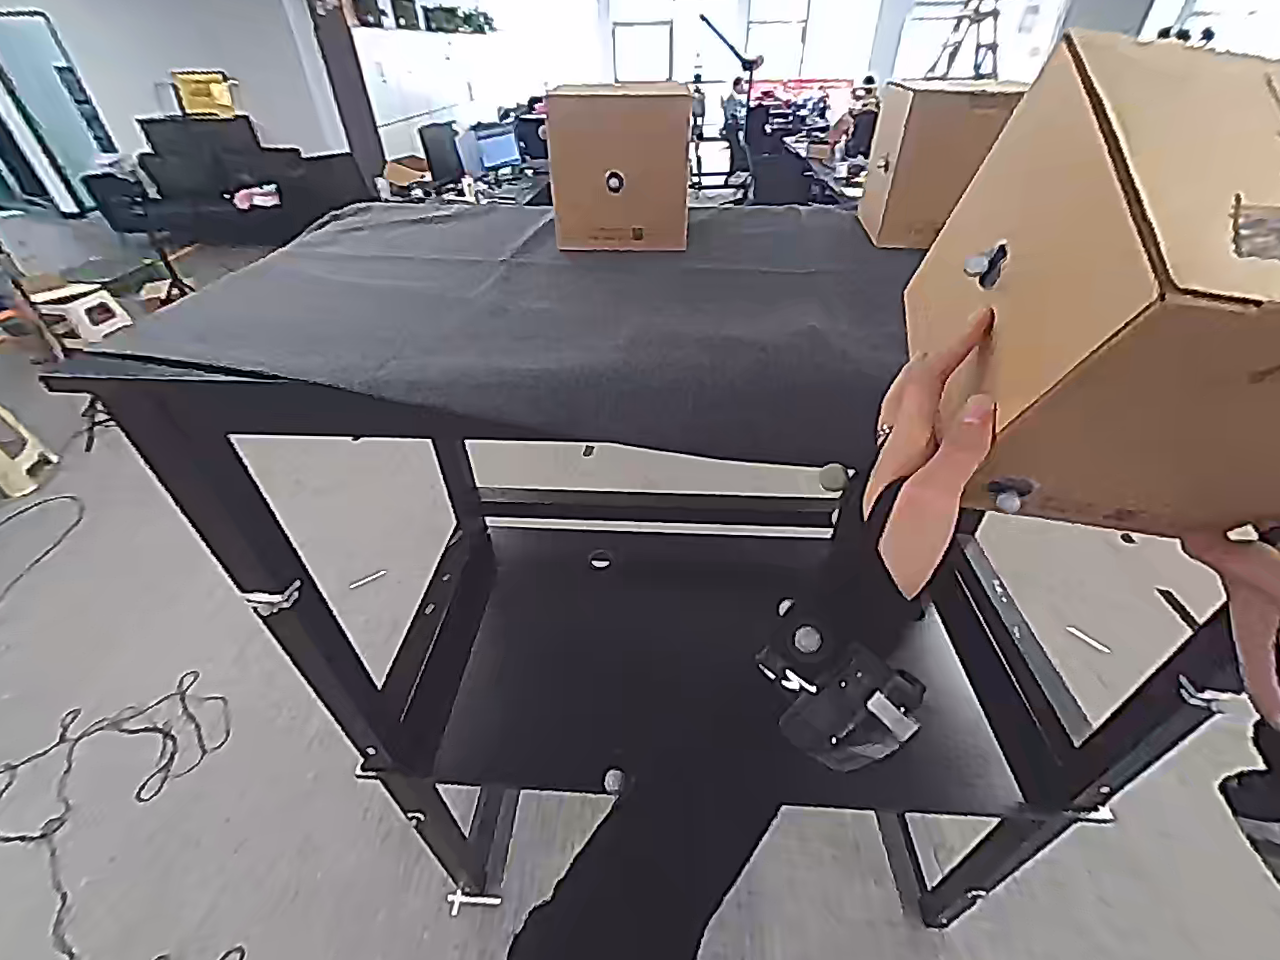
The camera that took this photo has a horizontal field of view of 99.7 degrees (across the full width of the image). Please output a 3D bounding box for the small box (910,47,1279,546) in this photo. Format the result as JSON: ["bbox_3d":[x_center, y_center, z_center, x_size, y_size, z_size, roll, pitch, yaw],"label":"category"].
[{"bbox_3d":[0.265,-0.080,0.285,0.168,0.176,0.179,9,63,2],"label":"small box"}]

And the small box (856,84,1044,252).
[{"bbox_3d":[0.391,-0.399,0.693,0.168,0.176,0.179,6,38,6],"label":"small box"}]

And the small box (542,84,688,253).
[{"bbox_3d":[-0.022,-0.405,0.704,0.168,0.176,0.179,1,39,2],"label":"small box"}]
